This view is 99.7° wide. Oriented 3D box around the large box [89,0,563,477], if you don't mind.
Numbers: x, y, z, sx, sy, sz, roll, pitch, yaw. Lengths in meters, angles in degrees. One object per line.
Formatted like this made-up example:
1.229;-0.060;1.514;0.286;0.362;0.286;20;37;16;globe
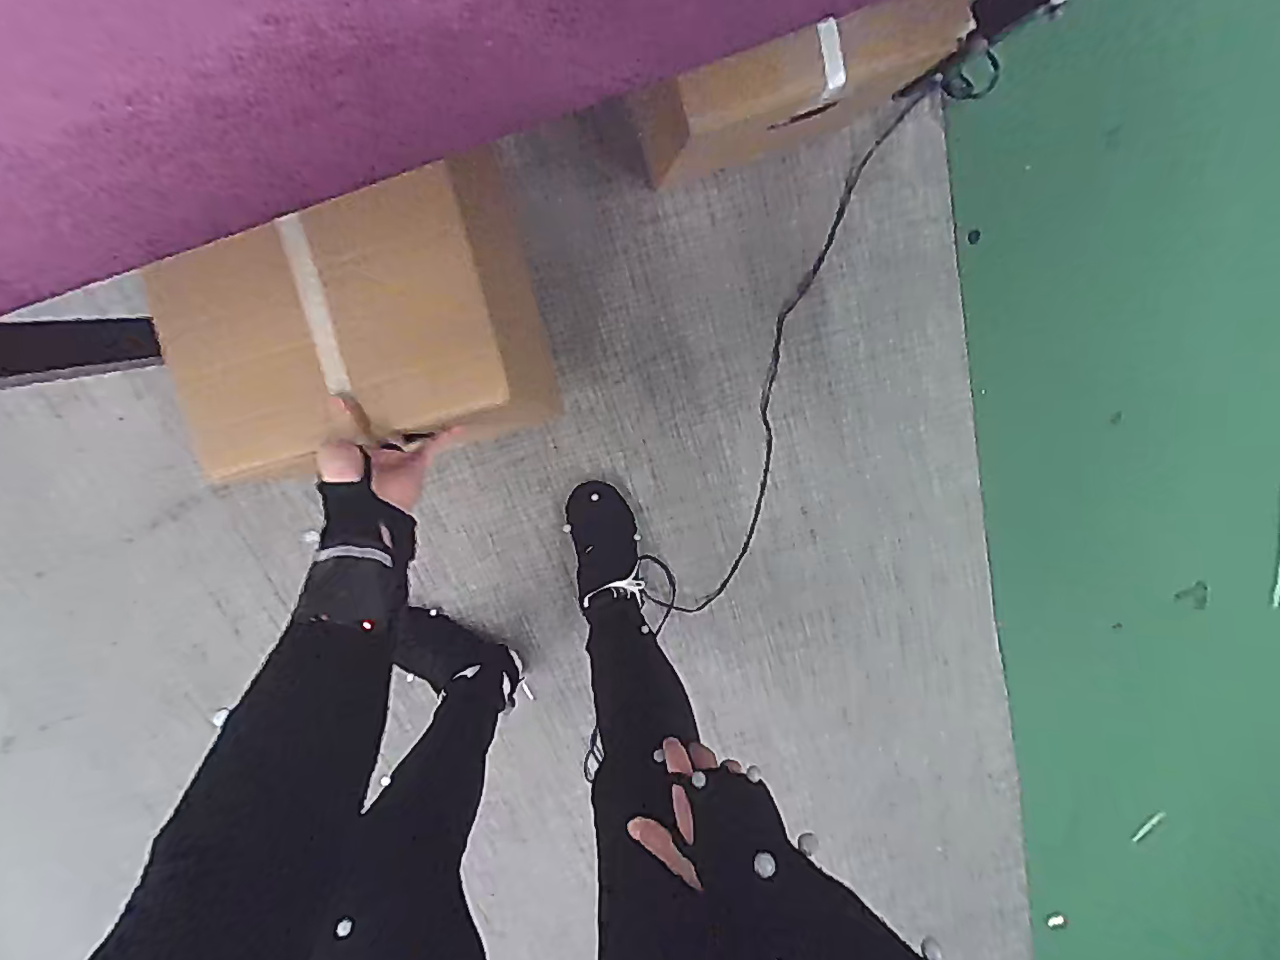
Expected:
-0.316;-0.240;0.661;0.320;0.320;0.408;-16;92;2;large box
